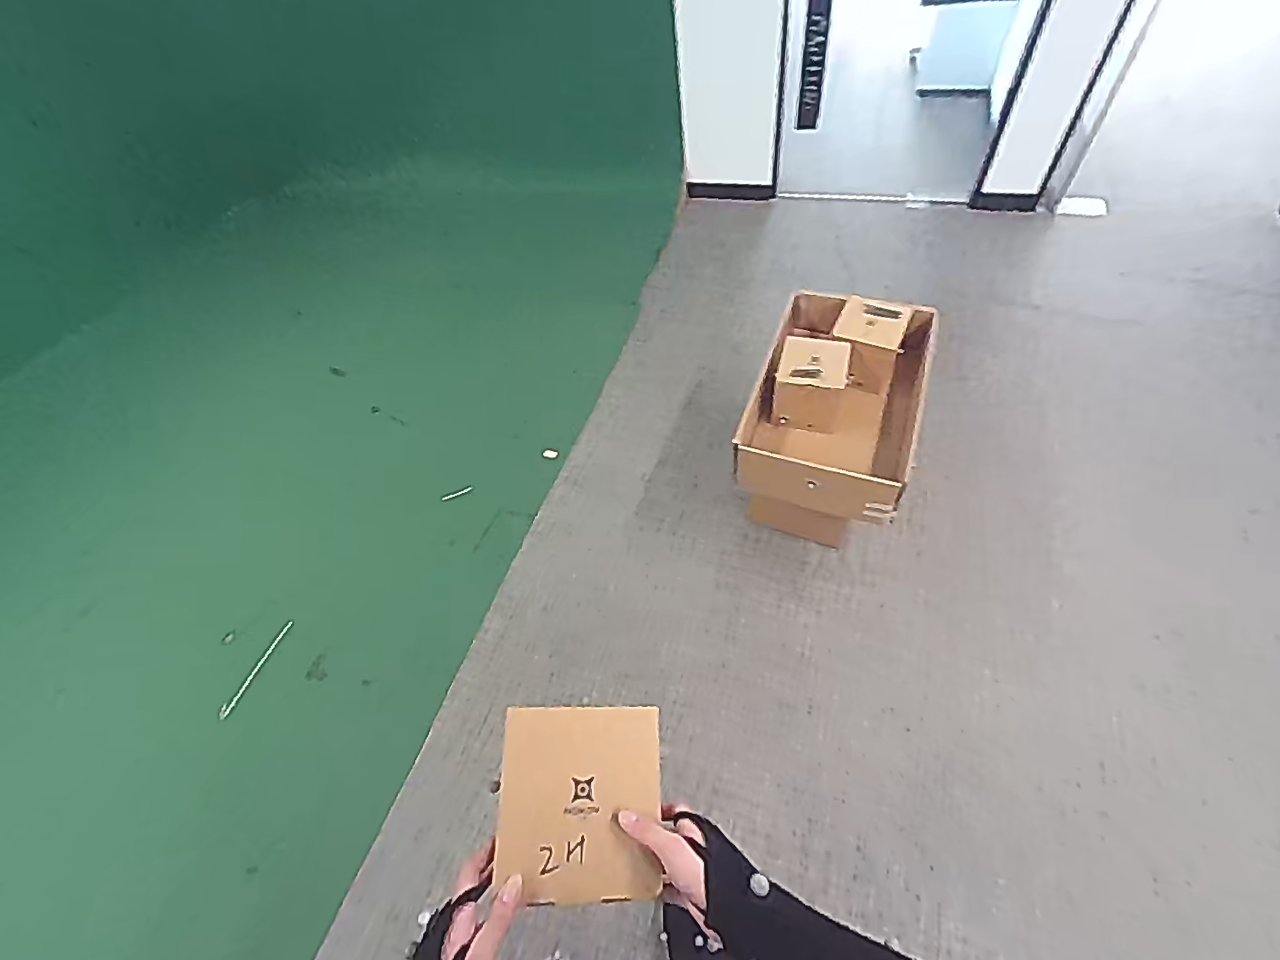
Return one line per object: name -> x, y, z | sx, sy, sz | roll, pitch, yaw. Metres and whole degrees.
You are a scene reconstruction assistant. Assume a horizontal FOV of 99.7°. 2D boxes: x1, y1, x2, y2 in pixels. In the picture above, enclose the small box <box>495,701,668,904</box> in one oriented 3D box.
small box -> -0.064, 0.355, 0.616 | 0.168, 0.176, 0.179 | 4, 64, -6
